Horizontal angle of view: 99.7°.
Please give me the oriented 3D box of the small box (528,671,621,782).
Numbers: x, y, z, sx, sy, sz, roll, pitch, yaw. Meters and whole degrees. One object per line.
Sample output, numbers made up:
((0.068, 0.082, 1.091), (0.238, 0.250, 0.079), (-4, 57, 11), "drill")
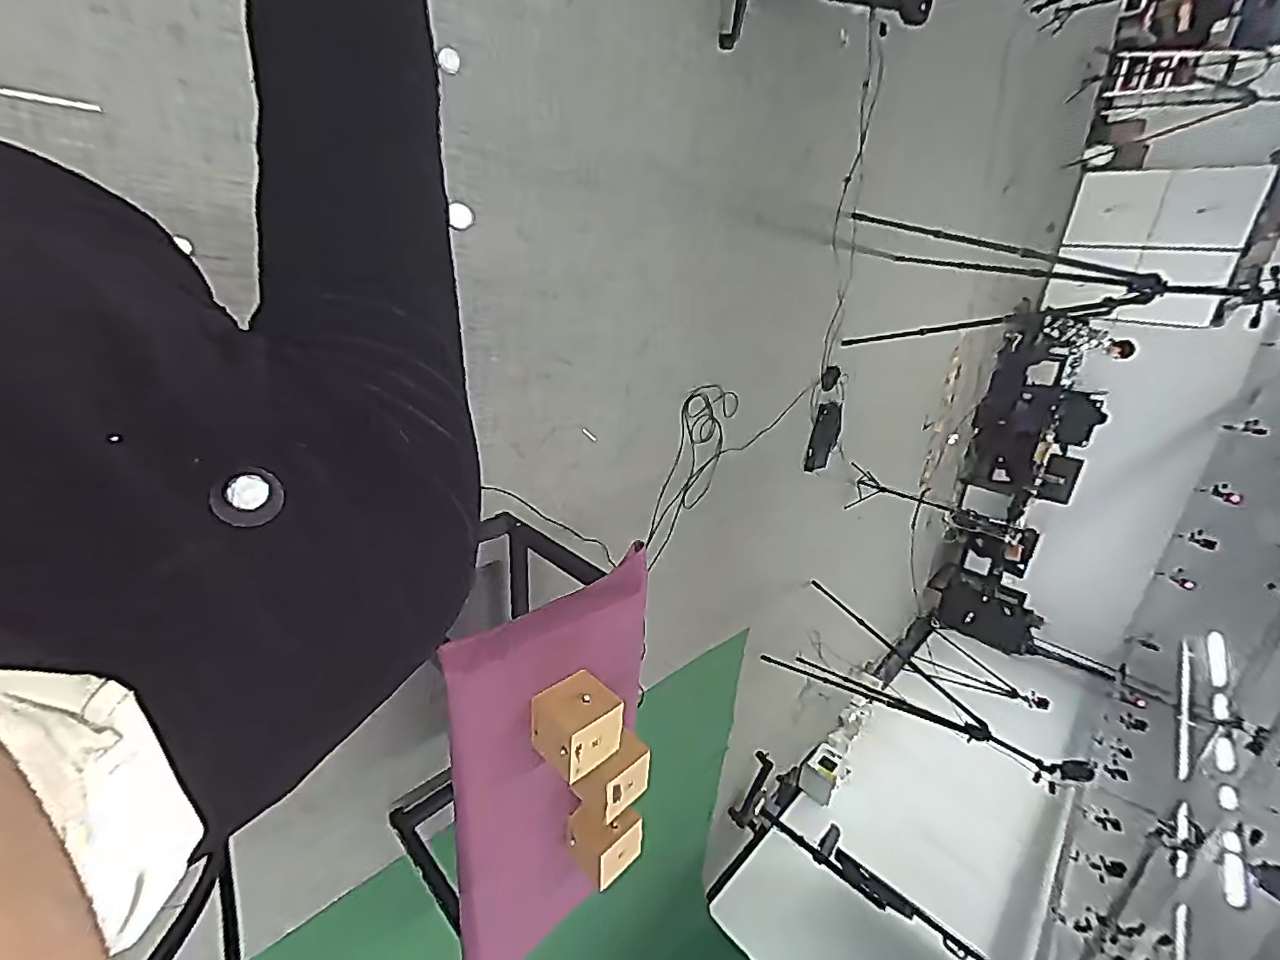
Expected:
((-0.173, 0.639, 1.428), (0.179, 0.176, 0.168), (-16, 119, -44), "small box")

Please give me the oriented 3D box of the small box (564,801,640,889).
((-0.121, 1.123, 1.715), (0.179, 0.176, 0.168), (-18, 119, -42), "small box")

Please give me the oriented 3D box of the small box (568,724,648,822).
((-0.100, 0.857, 1.614), (0.179, 0.176, 0.168), (-18, 120, -44), "small box")
